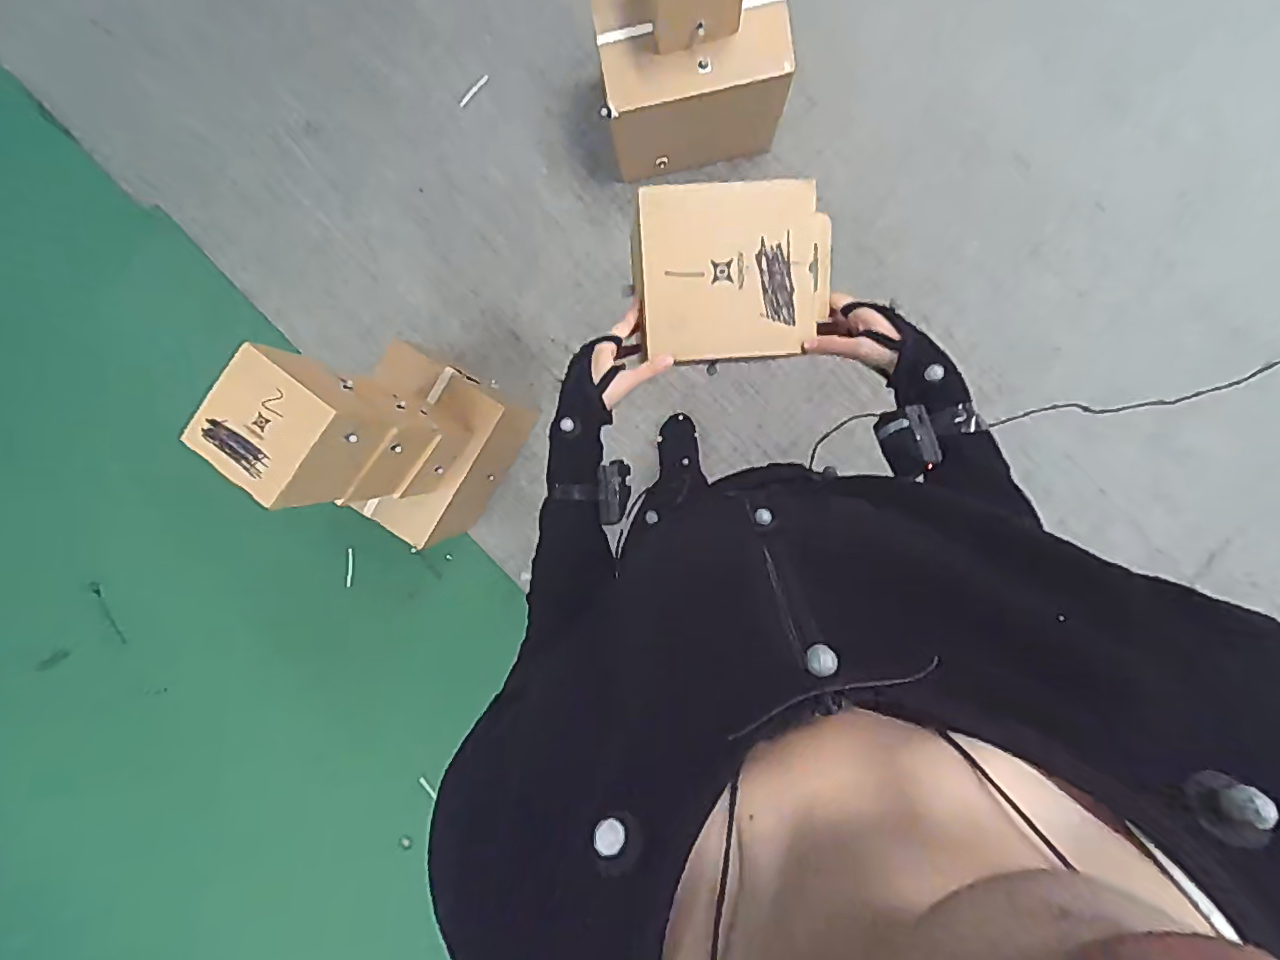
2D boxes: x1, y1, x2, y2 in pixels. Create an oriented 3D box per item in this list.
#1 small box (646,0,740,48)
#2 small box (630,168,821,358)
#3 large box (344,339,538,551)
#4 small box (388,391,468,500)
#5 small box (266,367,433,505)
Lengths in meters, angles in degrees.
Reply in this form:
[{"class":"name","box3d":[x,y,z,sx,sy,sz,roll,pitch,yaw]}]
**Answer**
[{"class":"small box","box3d":[0.097,-0.993,1.042,0.179,0.176,0.168,-14,91,4]},{"class":"small box","box3d":[0.083,-0.224,0.598,0.179,0.176,0.168,-4,100,-3]},{"class":"large box","box3d":[-0.521,-0.092,1.396,0.320,0.320,0.408,32,97,3]},{"class":"small box","box3d":[-0.500,-0.081,1.148,0.179,0.176,0.168,38,95,1]},{"class":"small box","box3d":[-0.514,-0.077,0.987,0.168,0.176,0.179,39,95,1]}]
